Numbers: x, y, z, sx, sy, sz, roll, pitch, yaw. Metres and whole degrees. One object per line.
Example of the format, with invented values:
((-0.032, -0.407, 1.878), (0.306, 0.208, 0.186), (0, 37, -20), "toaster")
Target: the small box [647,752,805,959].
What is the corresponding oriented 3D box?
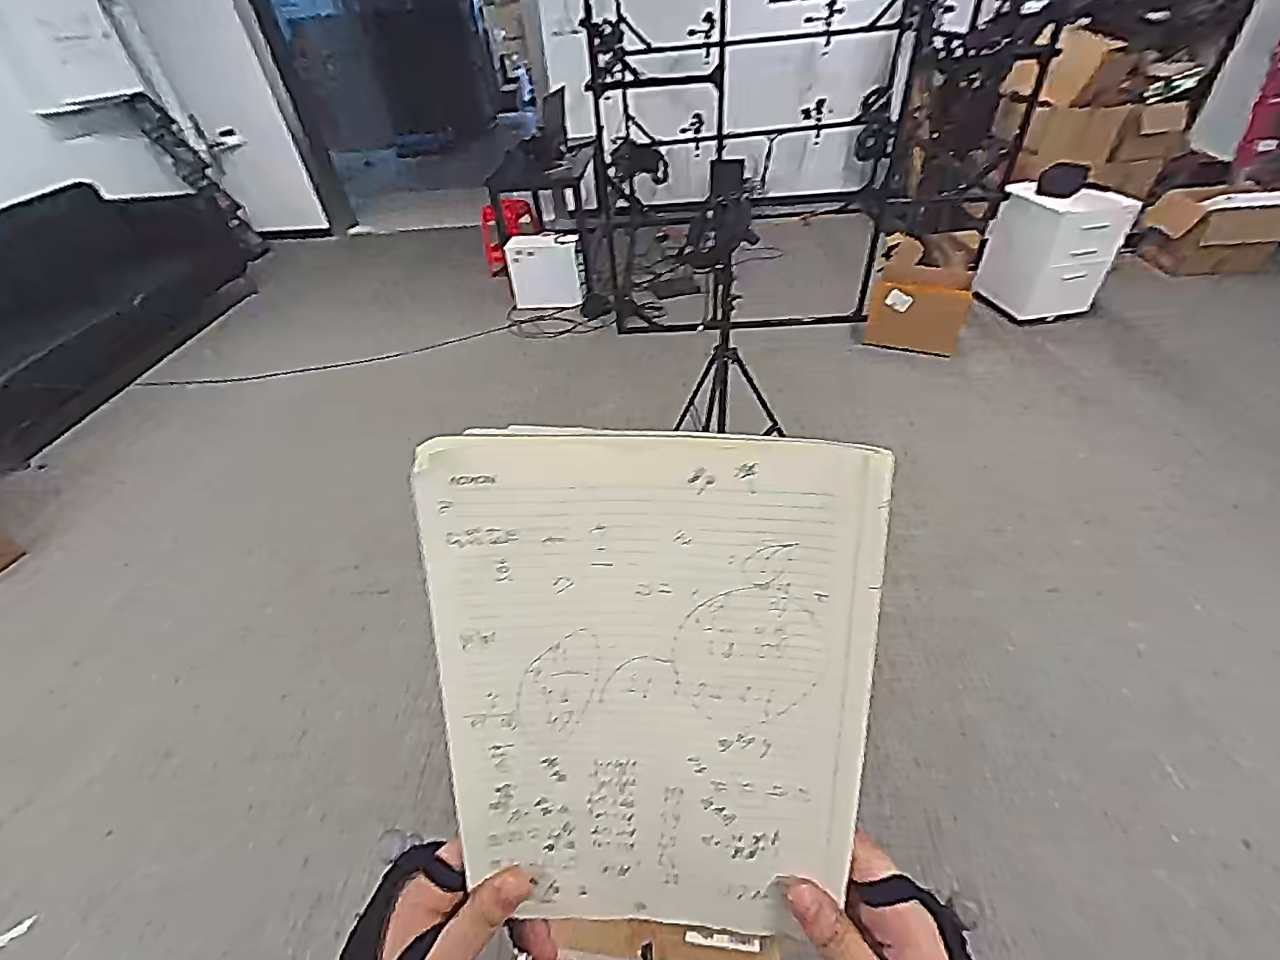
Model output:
((0.100, 0.469, 0.668), (0.168, 0.176, 0.179), (5, 44, 7), "small box")
